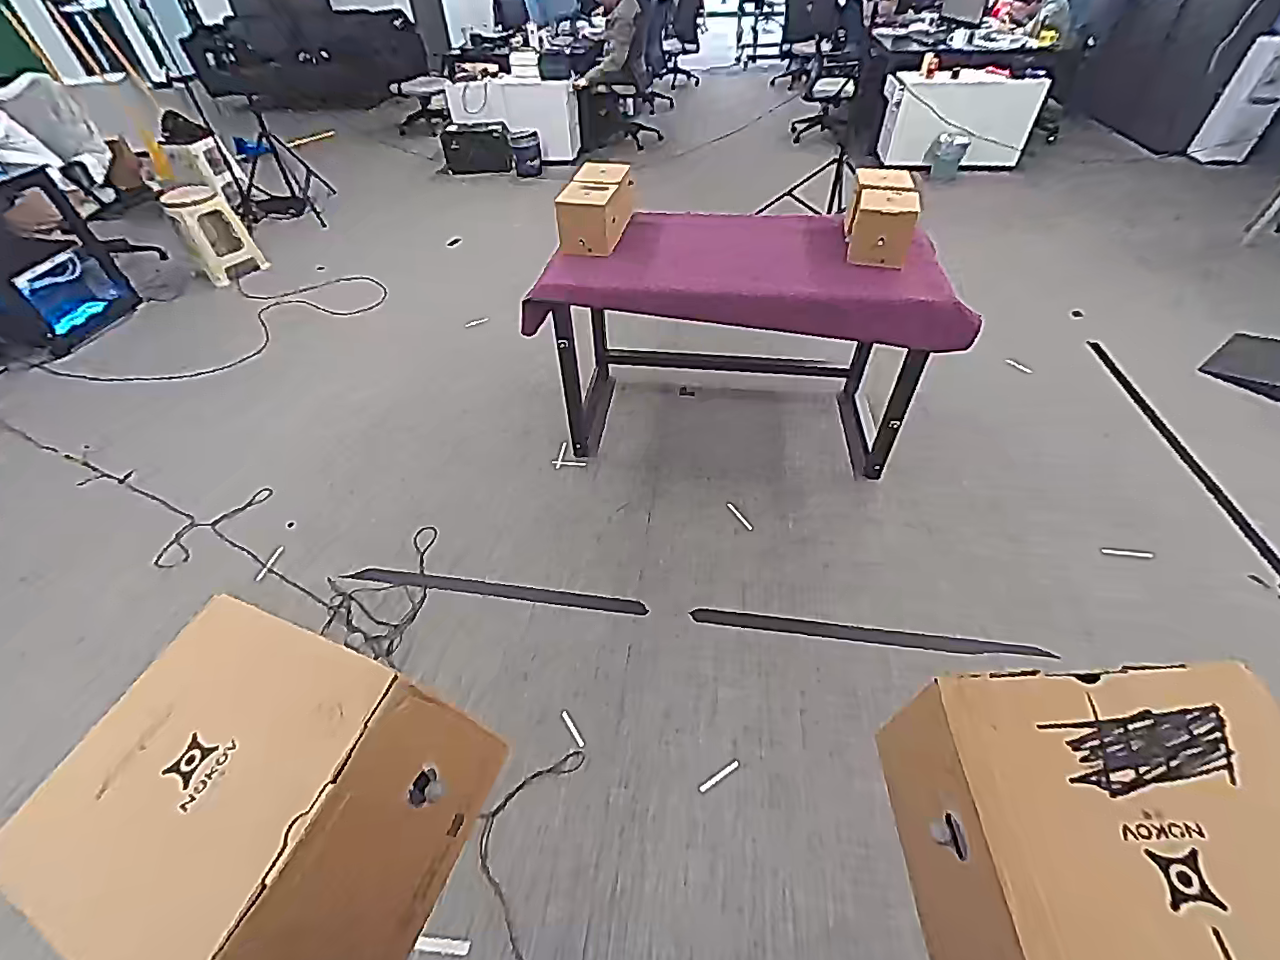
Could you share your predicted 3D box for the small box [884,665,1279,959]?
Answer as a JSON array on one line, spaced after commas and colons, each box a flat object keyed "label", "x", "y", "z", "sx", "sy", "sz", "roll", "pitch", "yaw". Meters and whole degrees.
[{"label": "small box", "x": 0.266, "y": 0.226, "z": 0.324, "sx": 0.168, "sy": 0.176, "sz": 0.179, "roll": -5, "pitch": 54, "yaw": 6}]

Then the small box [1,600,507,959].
[{"label": "small box", "x": -0.220, "y": 0.209, "z": 0.360, "sx": 0.179, "sy": 0.176, "sz": 0.168, "roll": 10, "pitch": 54, "yaw": 23}]

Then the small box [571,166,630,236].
[{"label": "small box", "x": -0.134, "y": -0.983, "z": 1.905, "sx": 0.168, "sy": 0.176, "sz": 0.179, "roll": 8, "pitch": 48, "yaw": 9}]

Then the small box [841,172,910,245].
[{"label": "small box", "x": 0.776, "y": -0.904, "z": 1.801, "sx": 0.168, "sy": 0.176, "sz": 0.179, "roll": 8, "pitch": 46, "yaw": 9}]
